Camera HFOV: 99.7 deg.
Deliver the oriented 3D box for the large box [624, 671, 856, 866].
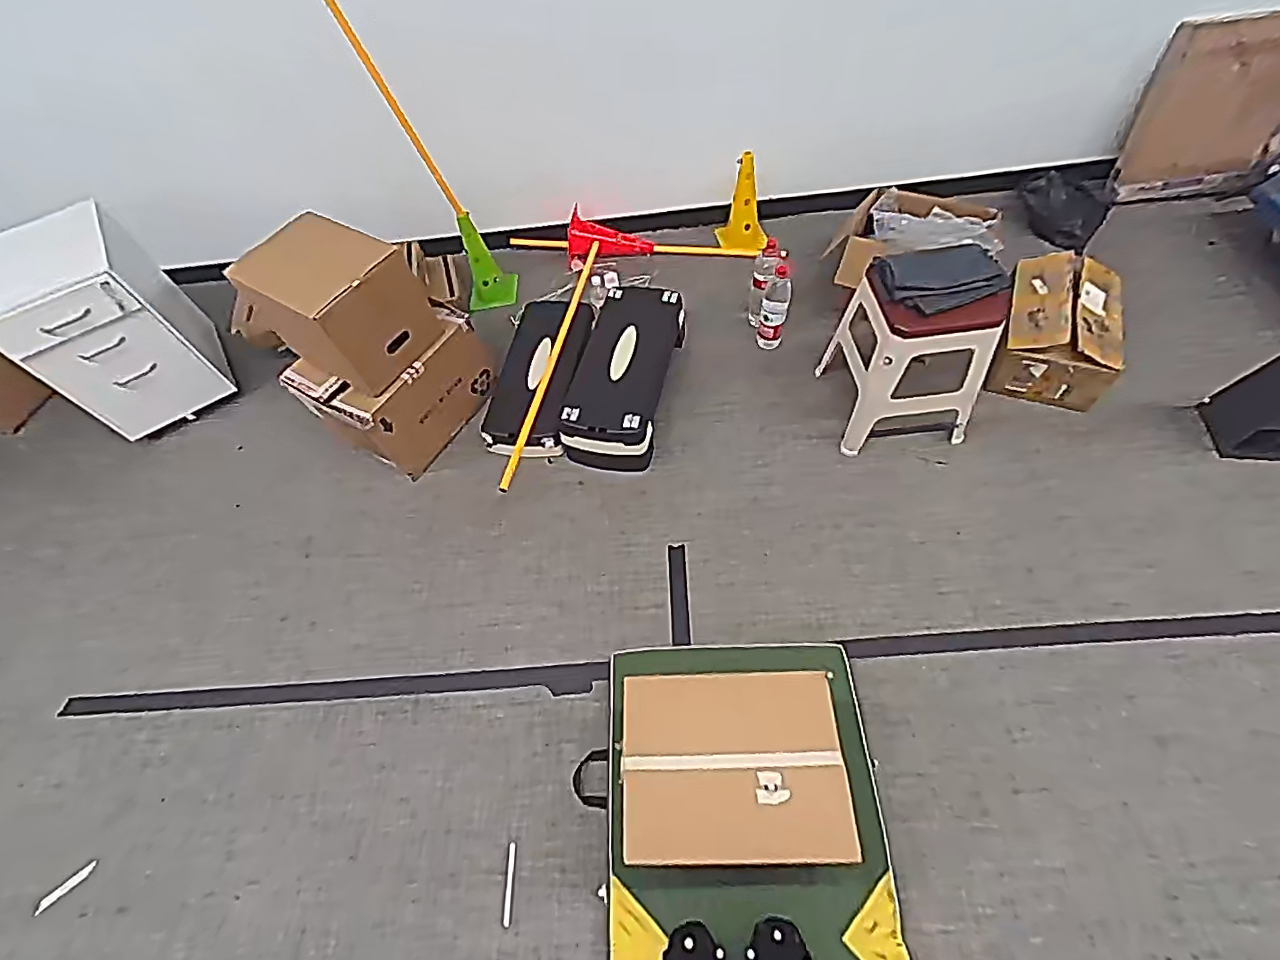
[{"bbox_3d":[0.179,0.607,1.136,0.408,0.320,0.320,-3,58,3],"label":"large box"}]
